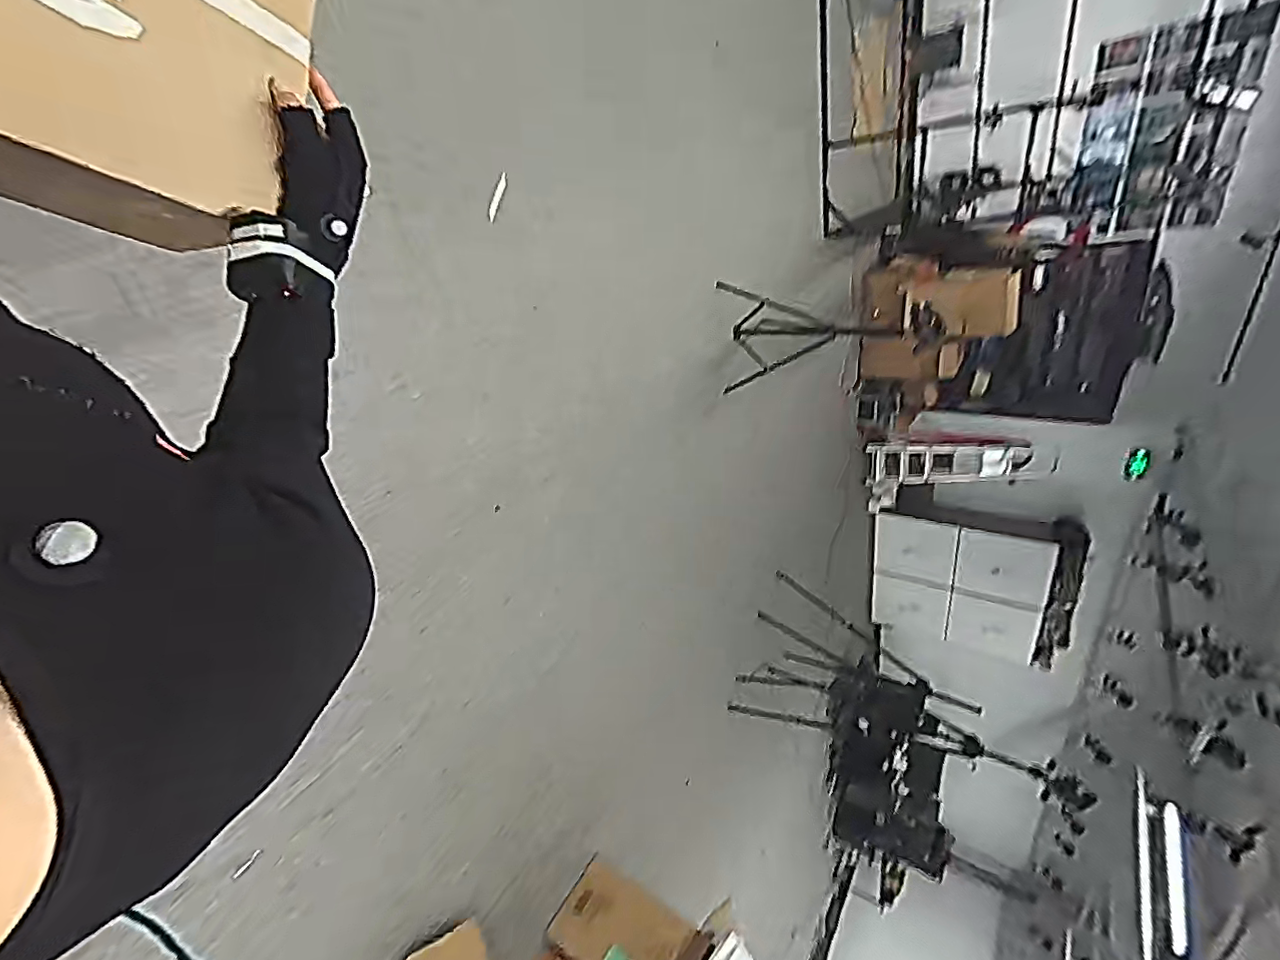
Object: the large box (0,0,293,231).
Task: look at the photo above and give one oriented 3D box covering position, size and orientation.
[{"bbox_3d":[-0.542,-0.422,0.396,0.408,0.320,0.320,4,99,-55],"label":"large box"}]
